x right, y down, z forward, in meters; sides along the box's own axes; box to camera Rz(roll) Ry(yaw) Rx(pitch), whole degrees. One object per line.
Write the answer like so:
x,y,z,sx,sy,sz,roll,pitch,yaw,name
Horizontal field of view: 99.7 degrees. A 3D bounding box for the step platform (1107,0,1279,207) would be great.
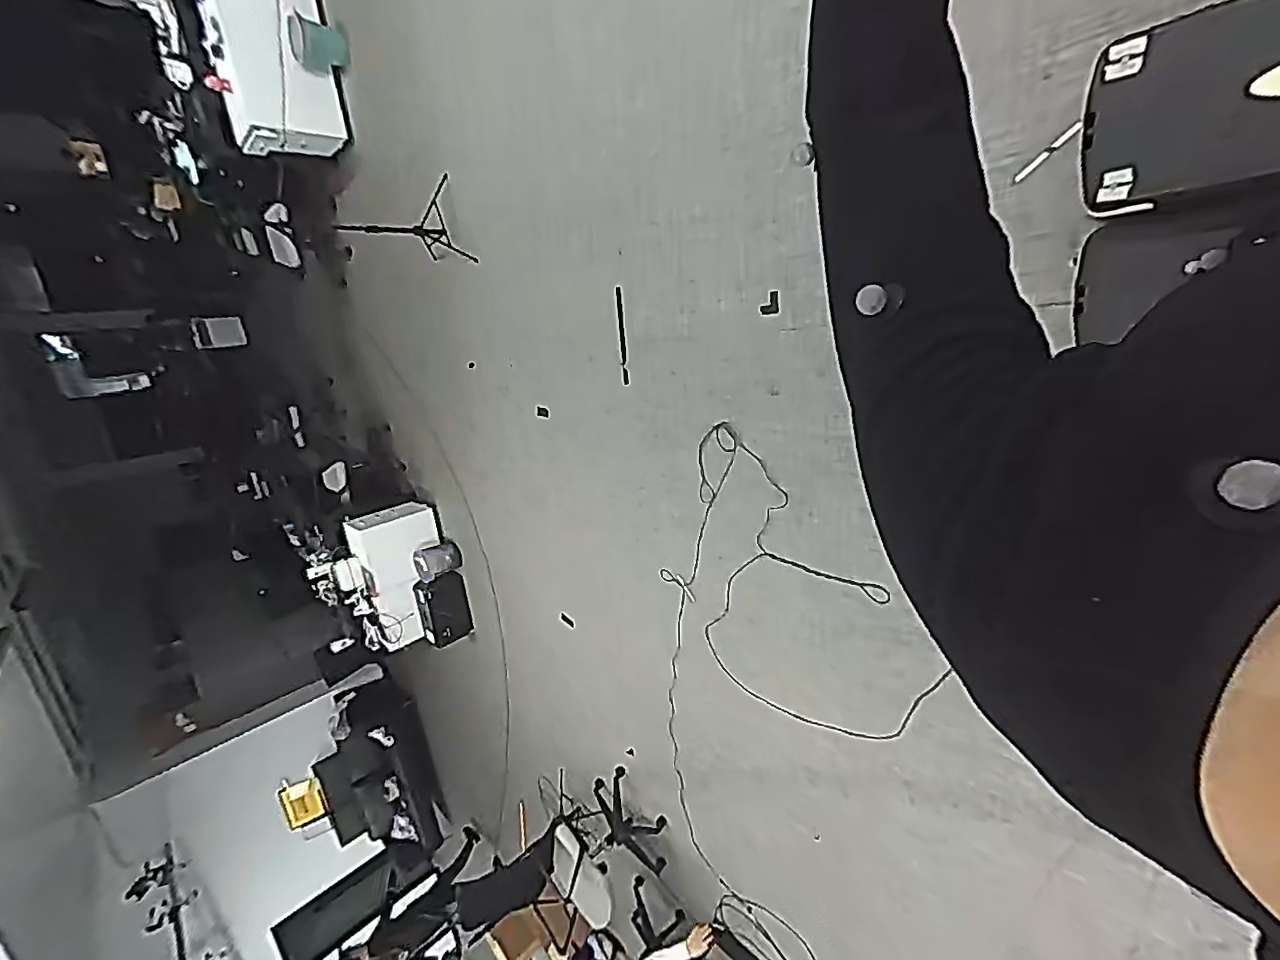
1.140,-0.637,0.798,0.684,0.204,0.286,8,112,45,step platform
